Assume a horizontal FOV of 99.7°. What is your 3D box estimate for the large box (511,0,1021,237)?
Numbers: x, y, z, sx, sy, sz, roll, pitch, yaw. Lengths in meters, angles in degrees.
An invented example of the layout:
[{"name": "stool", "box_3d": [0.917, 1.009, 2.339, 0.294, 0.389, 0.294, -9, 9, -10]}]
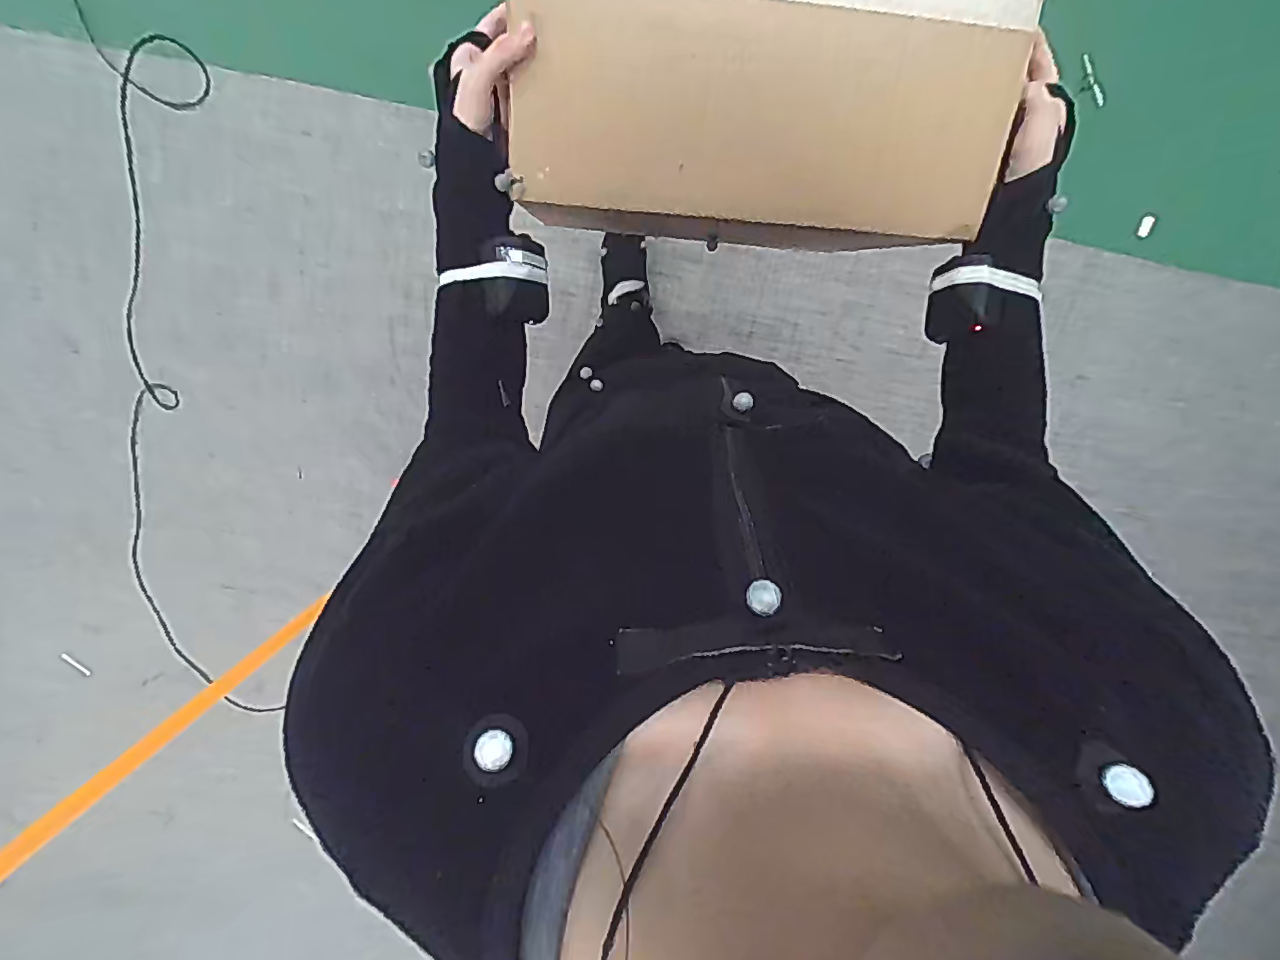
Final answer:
[{"name": "large box", "box_3d": [0.094, -0.430, 0.550, 0.408, 0.320, 0.320, 3, 111, -5]}]
